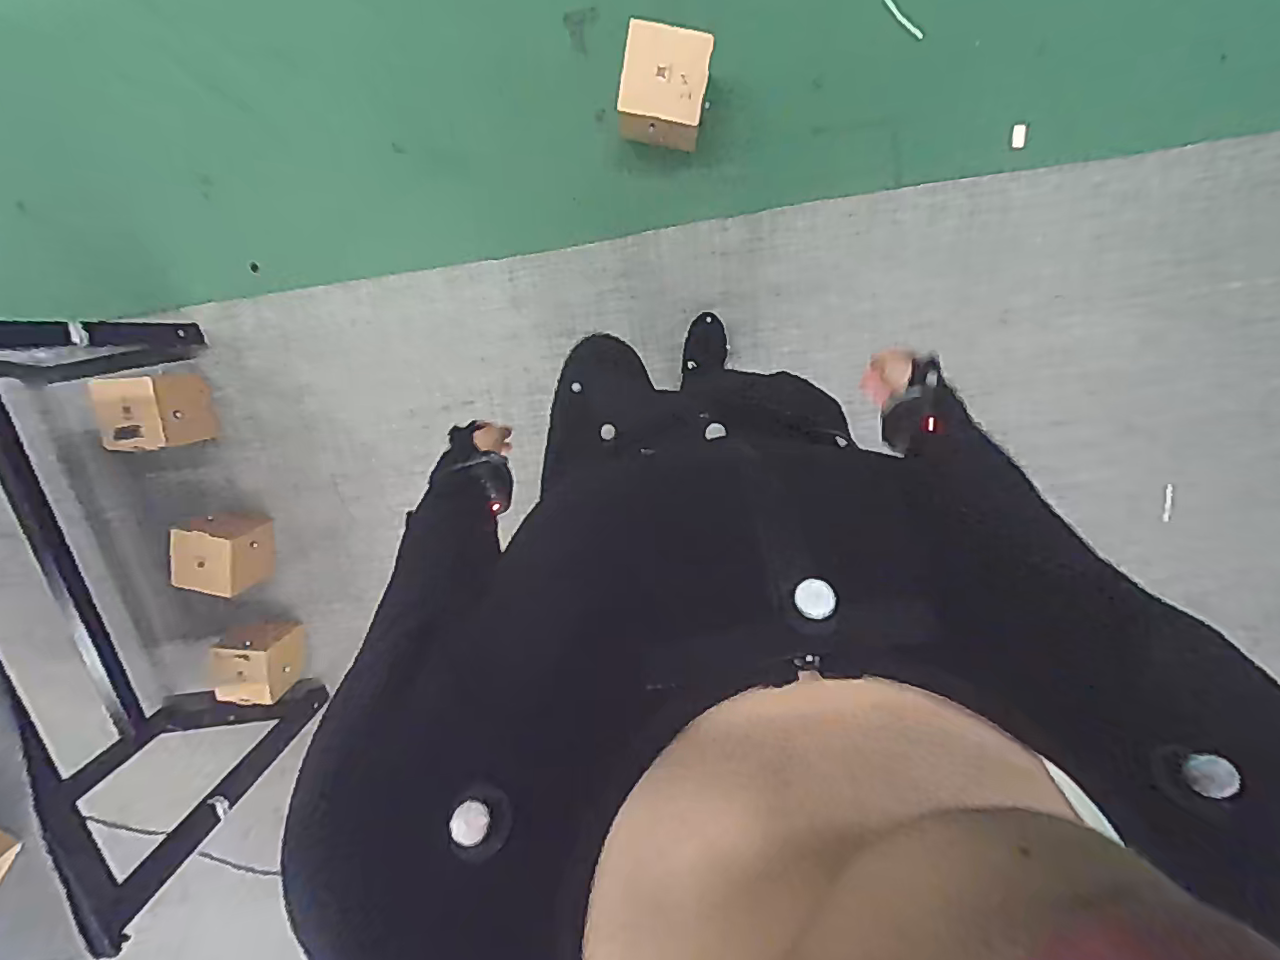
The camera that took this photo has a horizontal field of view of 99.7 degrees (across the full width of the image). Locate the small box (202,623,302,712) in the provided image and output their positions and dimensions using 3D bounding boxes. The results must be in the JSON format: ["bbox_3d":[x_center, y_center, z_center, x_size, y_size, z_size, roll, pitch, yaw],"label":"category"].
[{"bbox_3d":[-1.121,0.545,1.579,0.168,0.176,0.179,4,106,1],"label":"small box"}]

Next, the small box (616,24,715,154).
[{"bbox_3d":[0.053,-0.836,1.174,0.179,0.176,0.168,11,105,-2],"label":"small box"}]

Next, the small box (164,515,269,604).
[{"bbox_3d":[-1.159,0.211,1.491,0.168,0.176,0.179,12,106,-1],"label":"small box"}]

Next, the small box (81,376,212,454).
[{"bbox_3d":[-1.255,-0.171,1.392,0.168,0.176,0.179,-3,104,2],"label":"small box"}]

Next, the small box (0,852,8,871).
[{"bbox_3d":[-1.201,0.675,0.863,0.179,0.176,0.168,39,103,-8],"label":"small box"}]
